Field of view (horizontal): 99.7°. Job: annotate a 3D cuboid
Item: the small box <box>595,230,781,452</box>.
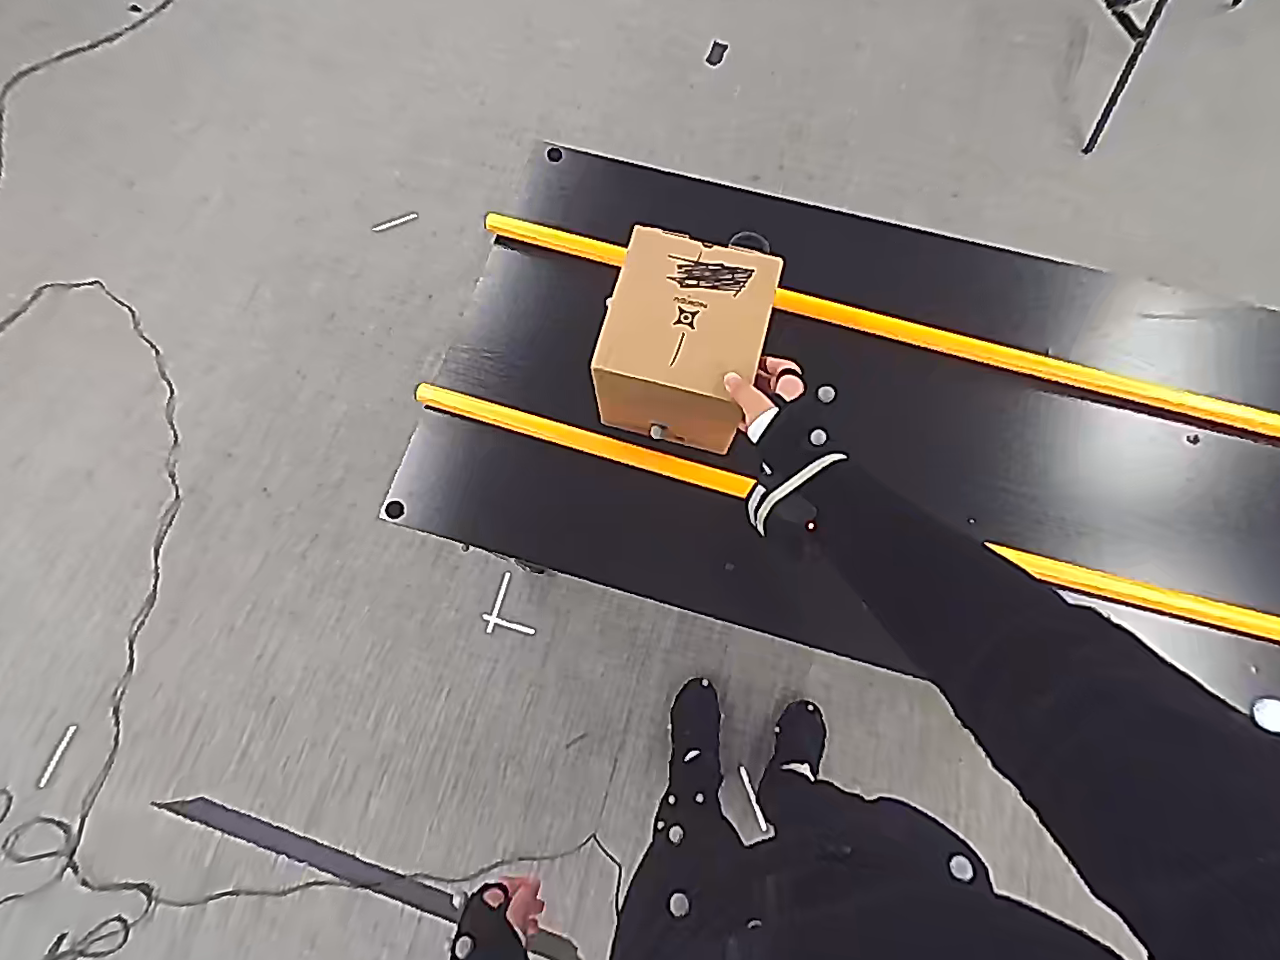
[{"bbox_3d":[0.052,-0.154,0.644,0.168,0.176,0.179,15,76,5],"label":"small box"}]
